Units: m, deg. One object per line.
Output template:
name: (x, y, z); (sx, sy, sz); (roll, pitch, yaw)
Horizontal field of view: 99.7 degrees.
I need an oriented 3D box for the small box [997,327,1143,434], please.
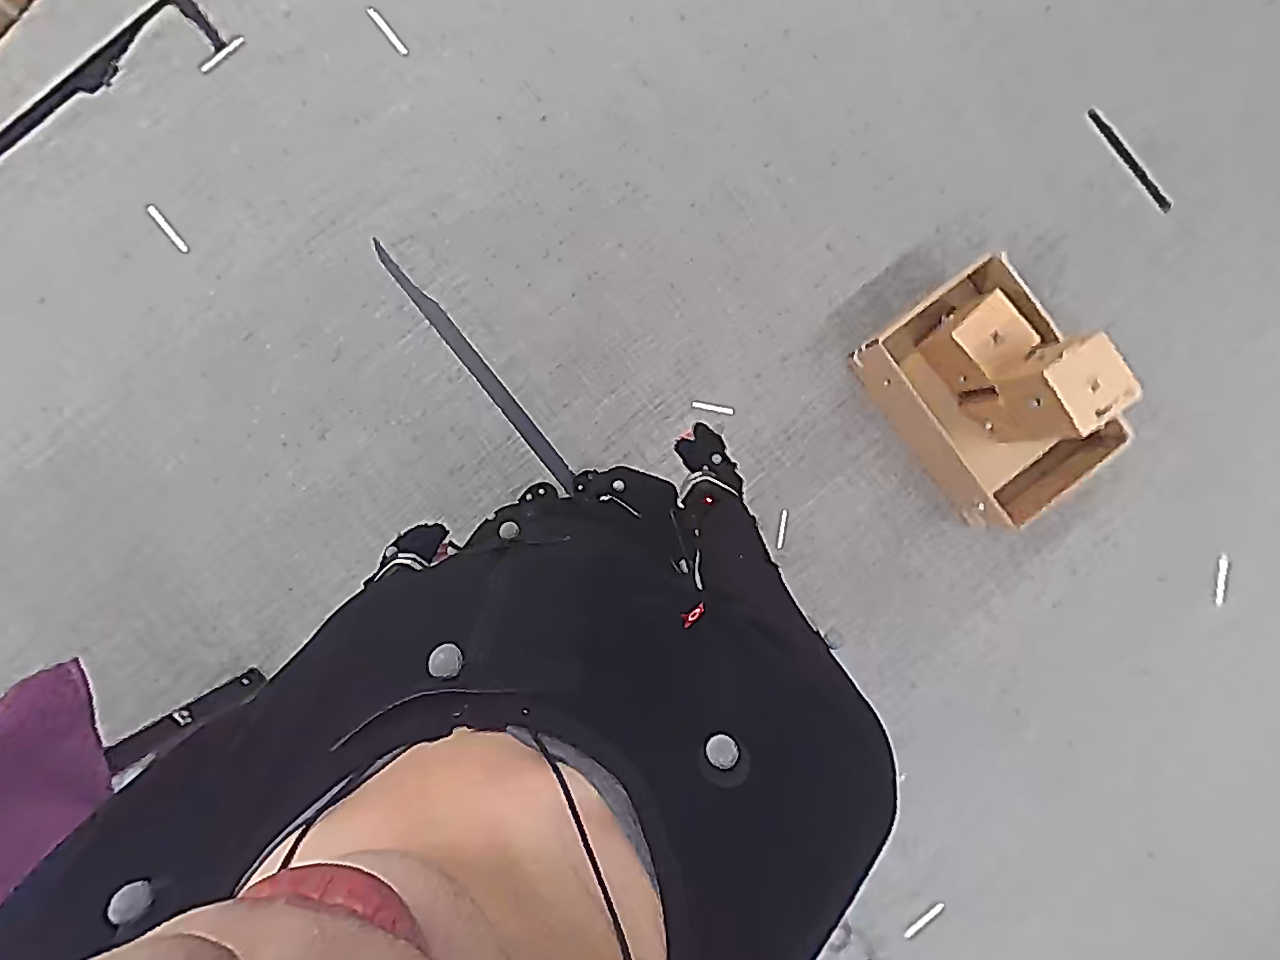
small box: (0.991, -0.222, 1.266); (0.168, 0.176, 0.179); (-34, 91, 1)
